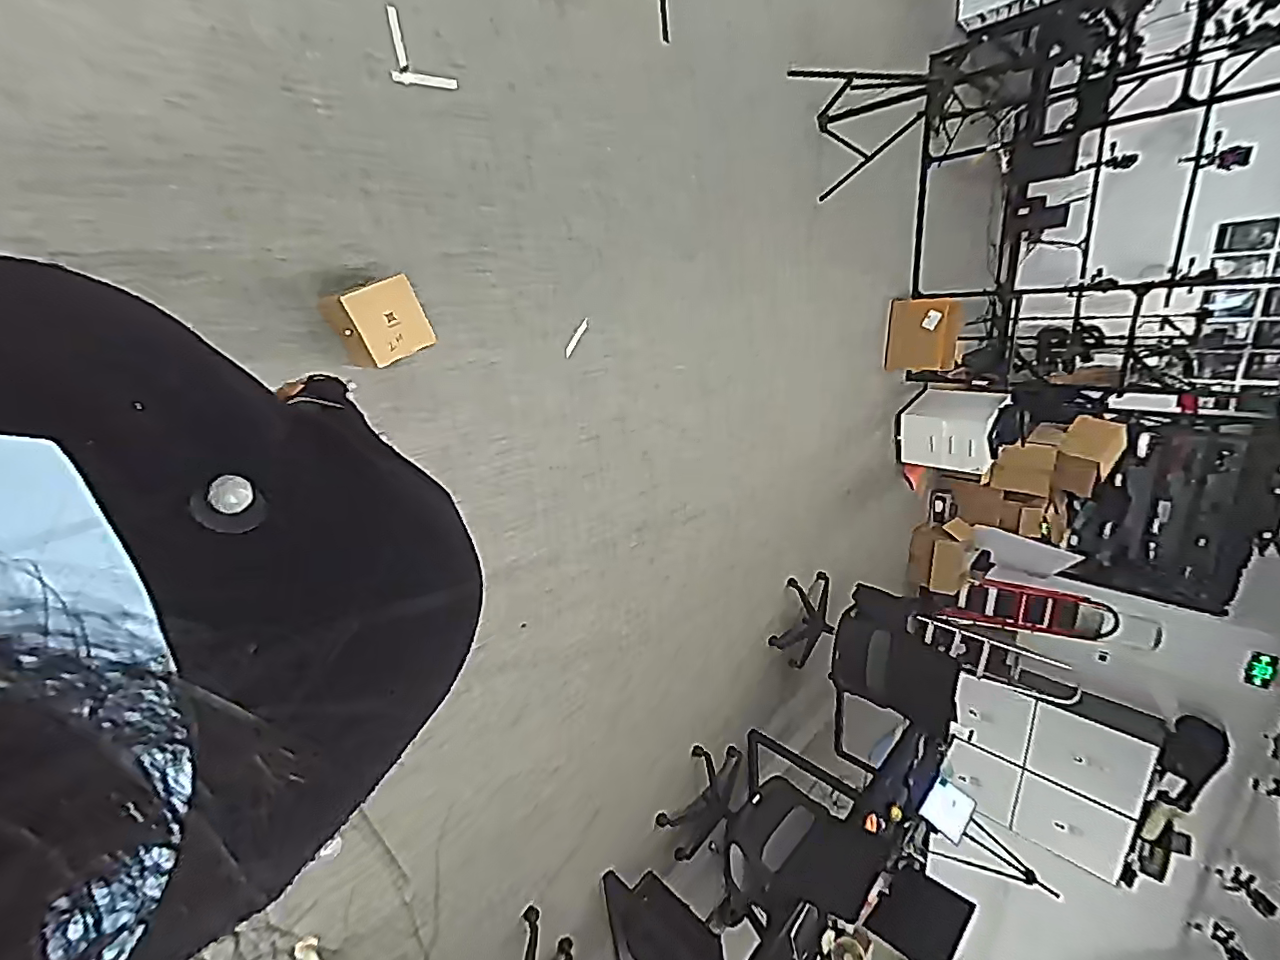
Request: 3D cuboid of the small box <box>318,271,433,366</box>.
[{"bbox_3d":[-0.652,-0.394,1.329,0.168,0.176,0.179,-39,126,-32],"label":"small box"}]
